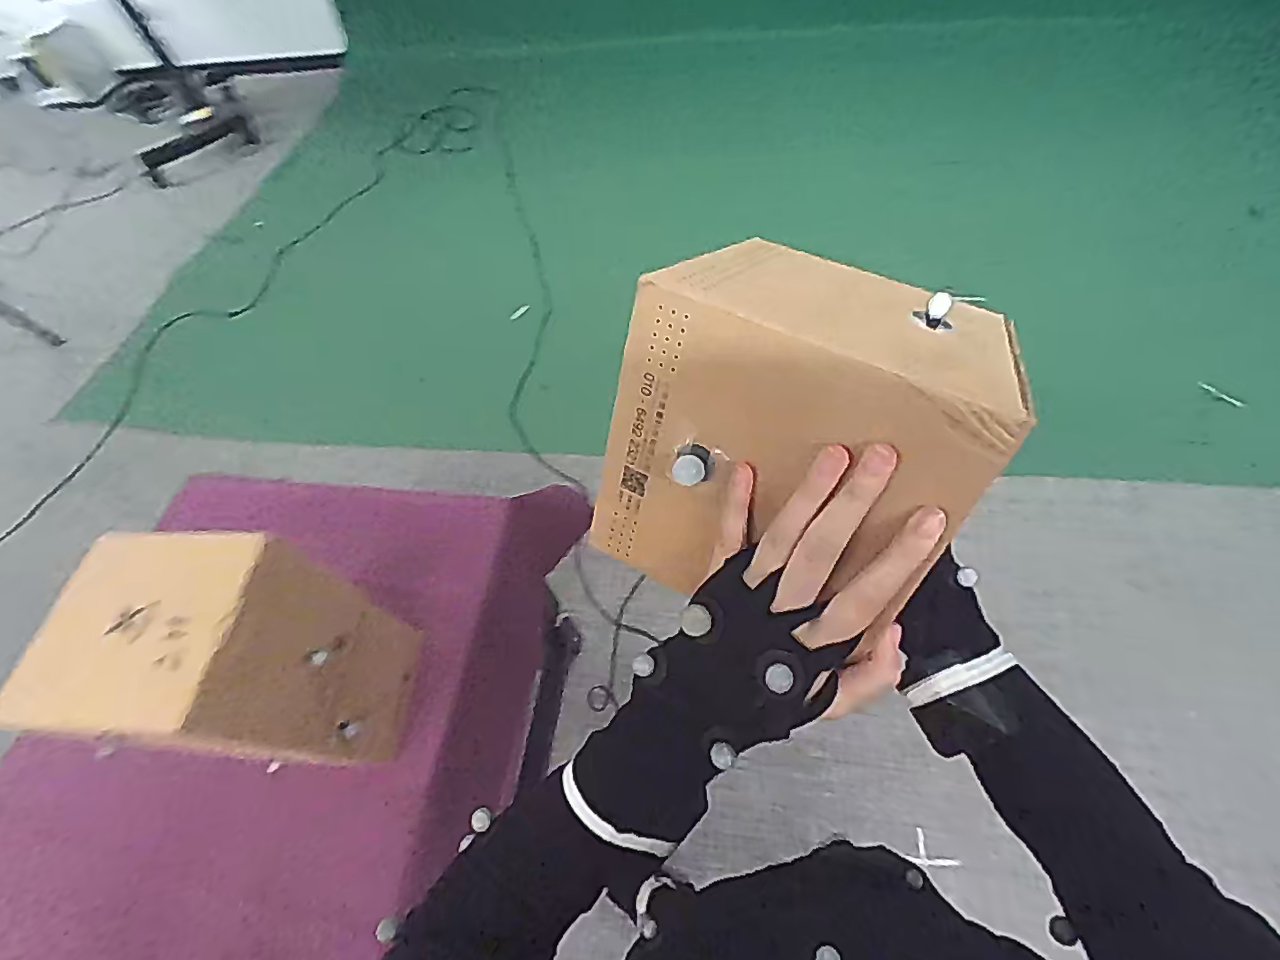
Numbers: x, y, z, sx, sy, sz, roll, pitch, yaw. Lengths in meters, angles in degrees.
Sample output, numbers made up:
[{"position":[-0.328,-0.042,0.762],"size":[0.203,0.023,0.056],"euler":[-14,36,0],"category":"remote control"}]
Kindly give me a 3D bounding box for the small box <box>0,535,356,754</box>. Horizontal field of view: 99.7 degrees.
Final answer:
[{"position":[-0.421,0.164,0.522],"size":[0.179,0.176,0.168],"euler":[-1,59,7],"category":"small box"}]

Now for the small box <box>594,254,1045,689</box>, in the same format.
[{"position":[0.097,-0.024,0.326],"size":[0.176,0.168,0.179],"euler":[27,37,18],"category":"small box"}]
